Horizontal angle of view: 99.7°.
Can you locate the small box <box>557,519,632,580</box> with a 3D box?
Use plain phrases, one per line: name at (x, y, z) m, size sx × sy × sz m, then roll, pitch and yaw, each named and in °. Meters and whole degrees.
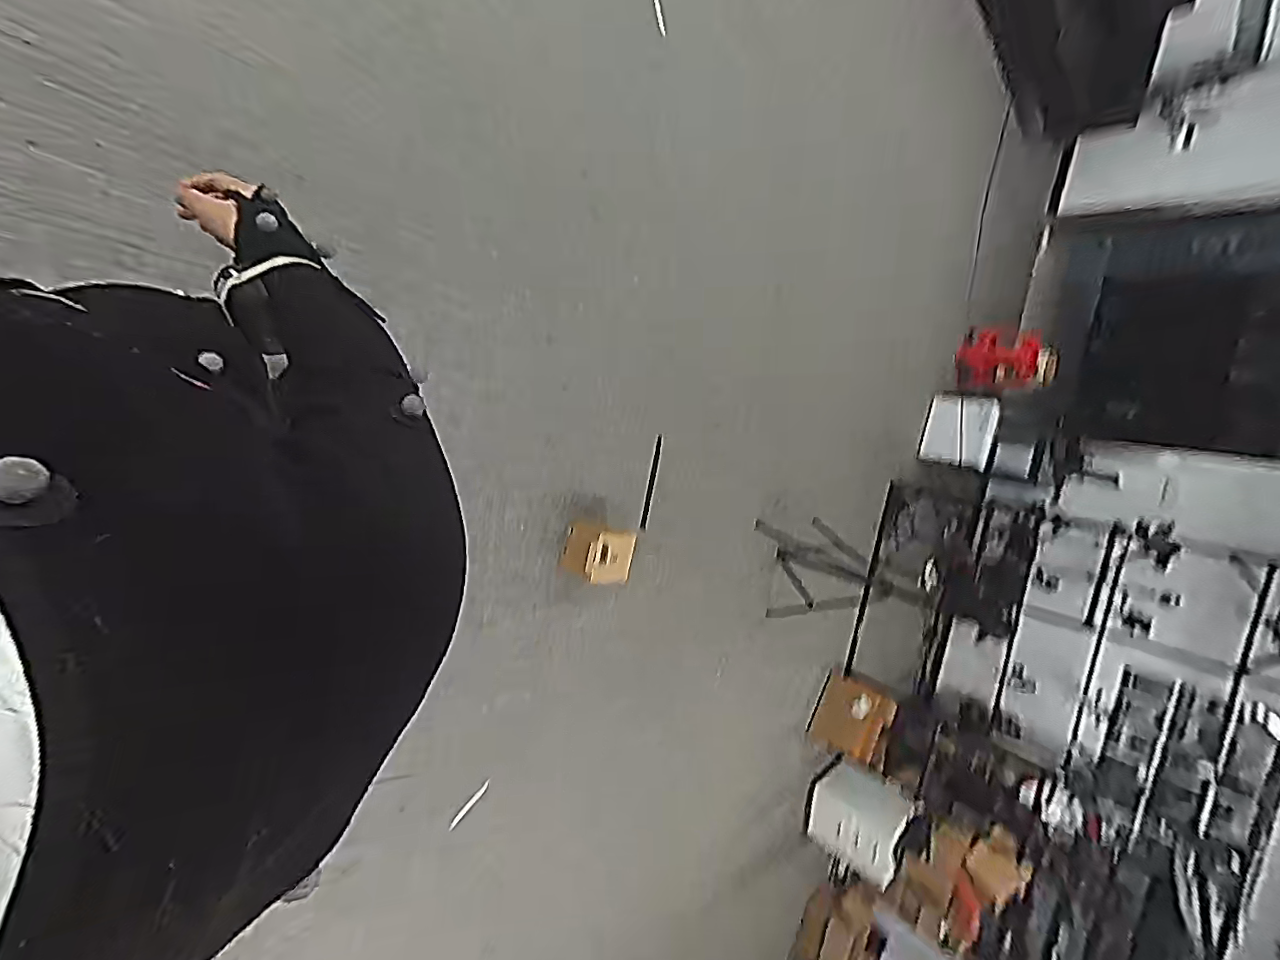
small box at (-0.157, 0.231, 1.829) m, size 0.179 × 0.176 × 0.168 m, roll 8°, pitch 97°, yaw -47°
